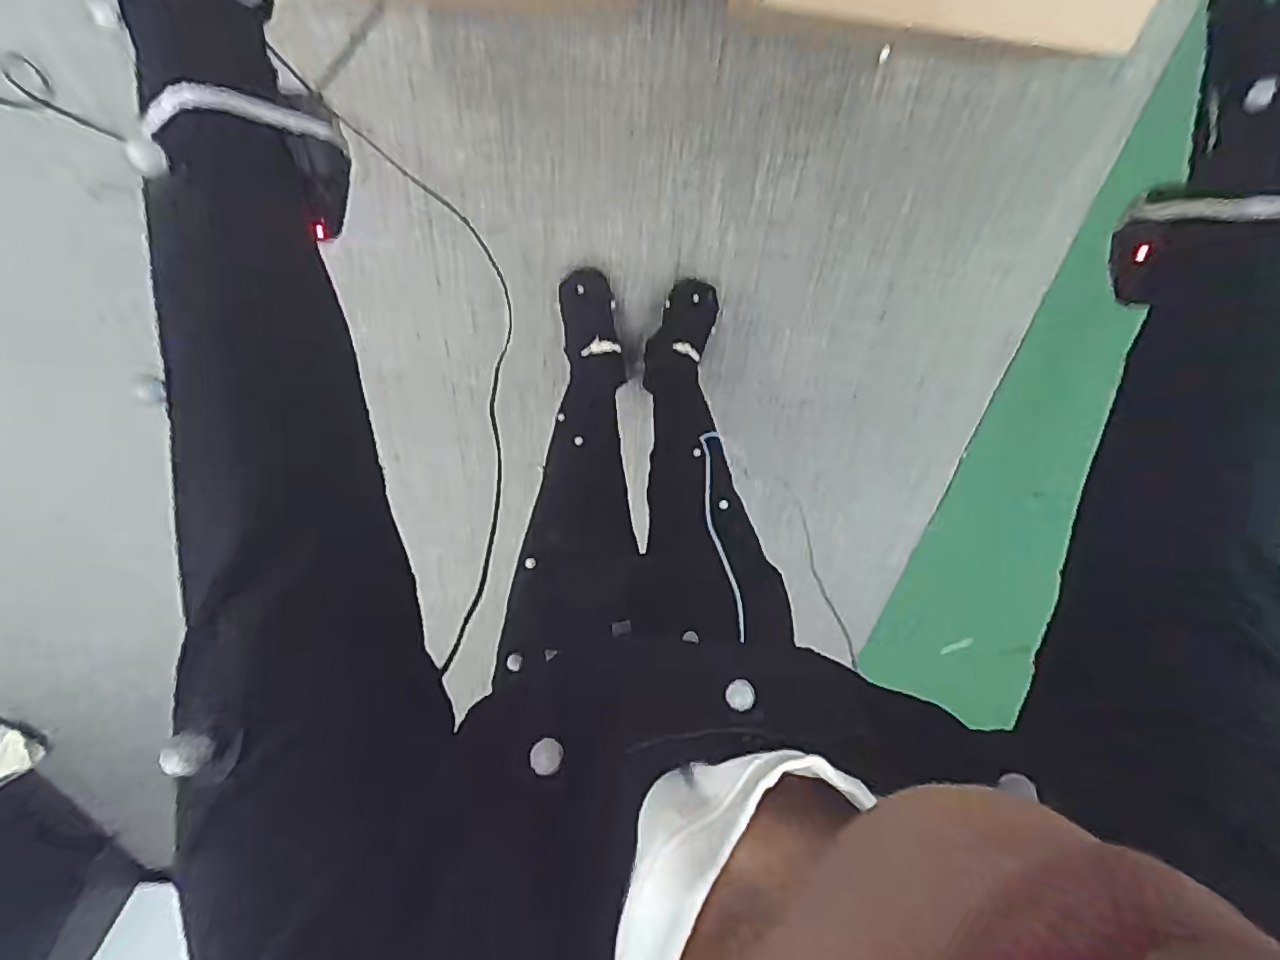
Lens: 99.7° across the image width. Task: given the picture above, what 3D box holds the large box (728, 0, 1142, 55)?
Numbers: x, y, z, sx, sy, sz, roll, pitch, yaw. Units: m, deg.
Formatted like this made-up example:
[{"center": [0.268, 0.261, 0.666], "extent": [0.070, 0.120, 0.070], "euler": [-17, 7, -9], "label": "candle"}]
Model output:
[{"center": [0.342, -0.693, 0.607], "extent": [0.408, 0.320, 0.320], "euler": [5, 126, -4], "label": "large box"}]
